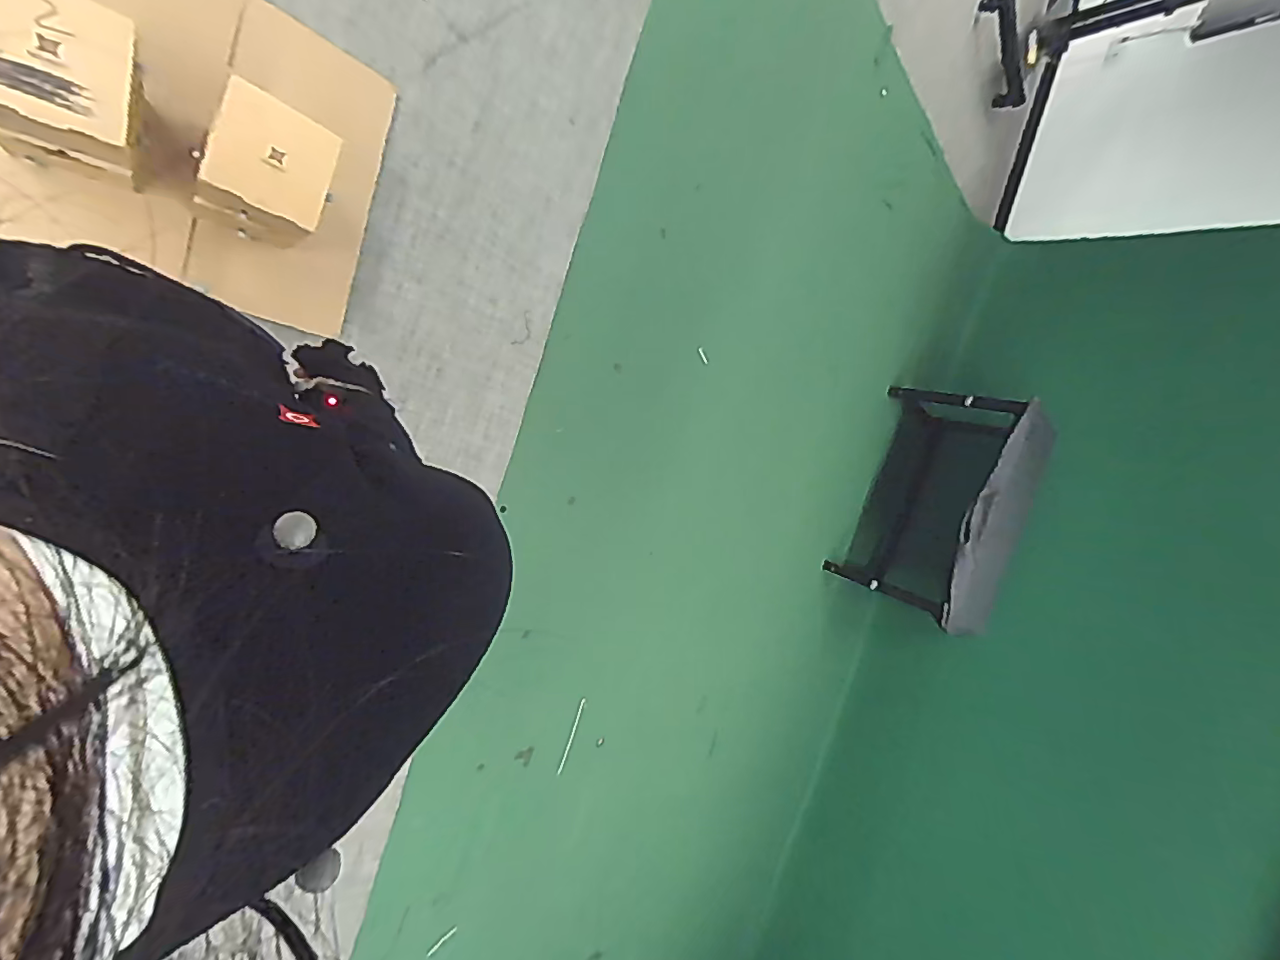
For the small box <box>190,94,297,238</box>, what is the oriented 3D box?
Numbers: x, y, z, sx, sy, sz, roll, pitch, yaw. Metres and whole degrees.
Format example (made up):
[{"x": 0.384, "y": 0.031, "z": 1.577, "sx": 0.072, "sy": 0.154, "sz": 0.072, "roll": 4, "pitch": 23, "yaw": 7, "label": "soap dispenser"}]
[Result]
[{"x": -0.764, "y": -0.602, "z": 1.064, "sx": 0.168, "sy": 0.176, "sz": 0.179, "roll": 13, "pitch": 96, "yaw": -42, "label": "small box"}]

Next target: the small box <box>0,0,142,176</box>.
[{"x": -0.942, "y": -0.631, "z": 0.889, "sx": 0.168, "sy": 0.176, "sz": 0.179, "roll": 7, "pitch": 99, "yaw": -43, "label": "small box"}]

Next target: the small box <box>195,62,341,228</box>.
[{"x": -0.656, "y": -0.569, "z": 0.947, "sx": 0.168, "sy": 0.176, "sz": 0.179, "roll": 17, "pitch": 93, "yaw": -44, "label": "small box"}]
